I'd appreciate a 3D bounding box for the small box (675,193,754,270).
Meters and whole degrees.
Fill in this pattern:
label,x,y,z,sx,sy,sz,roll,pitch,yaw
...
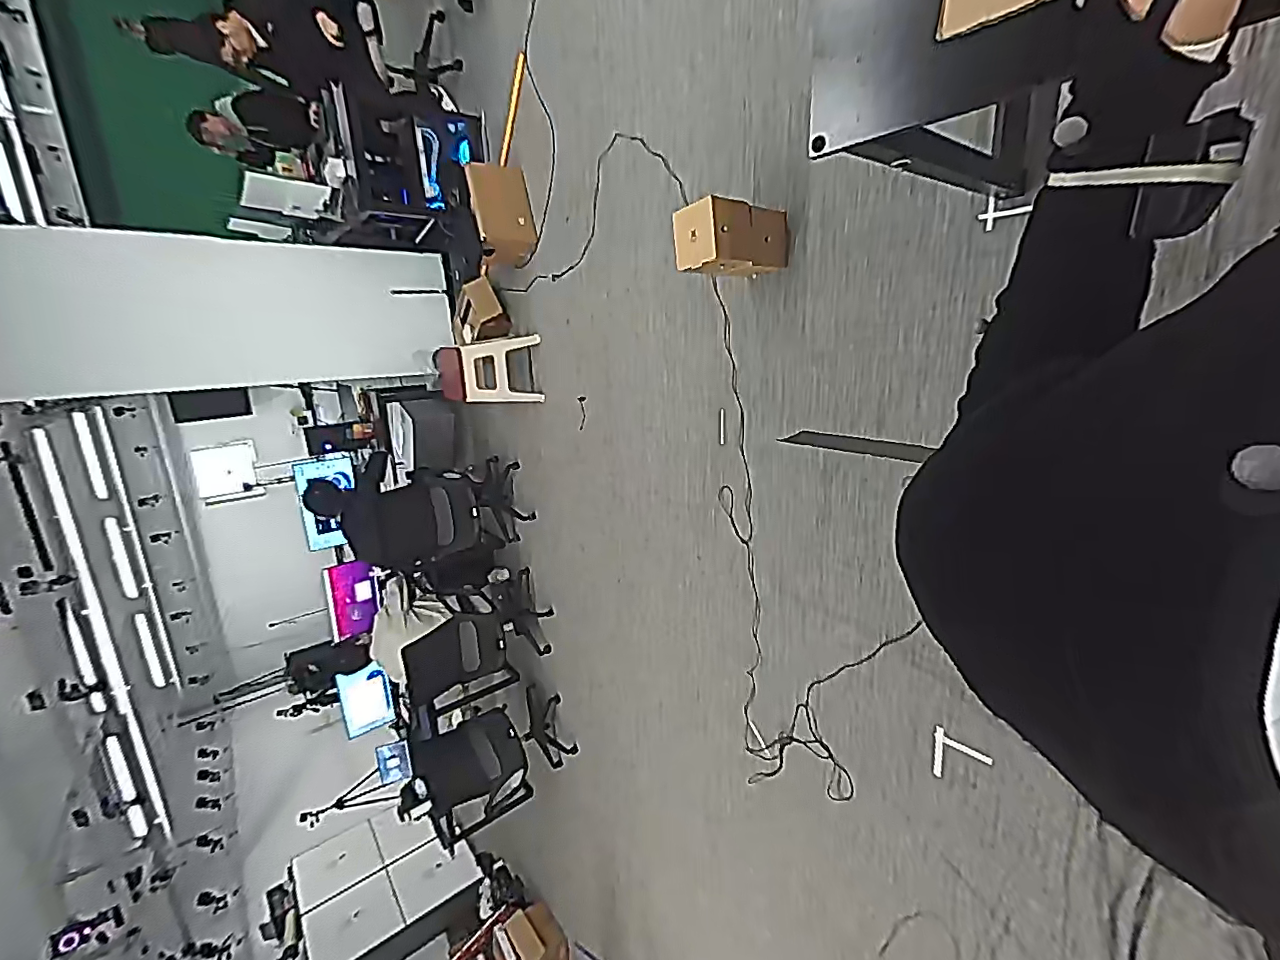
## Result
label,x,y,z,sx,sy,sz,roll,pitch,yaw
small box,0.229,-0.744,1.637,0.168,0.176,0.179,6,105,51

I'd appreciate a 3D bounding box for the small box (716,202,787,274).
label,x,y,z,sx,sy,sz,roll,pitch,yaw
small box,0.357,-0.768,1.735,0.168,0.176,0.179,10,110,51
